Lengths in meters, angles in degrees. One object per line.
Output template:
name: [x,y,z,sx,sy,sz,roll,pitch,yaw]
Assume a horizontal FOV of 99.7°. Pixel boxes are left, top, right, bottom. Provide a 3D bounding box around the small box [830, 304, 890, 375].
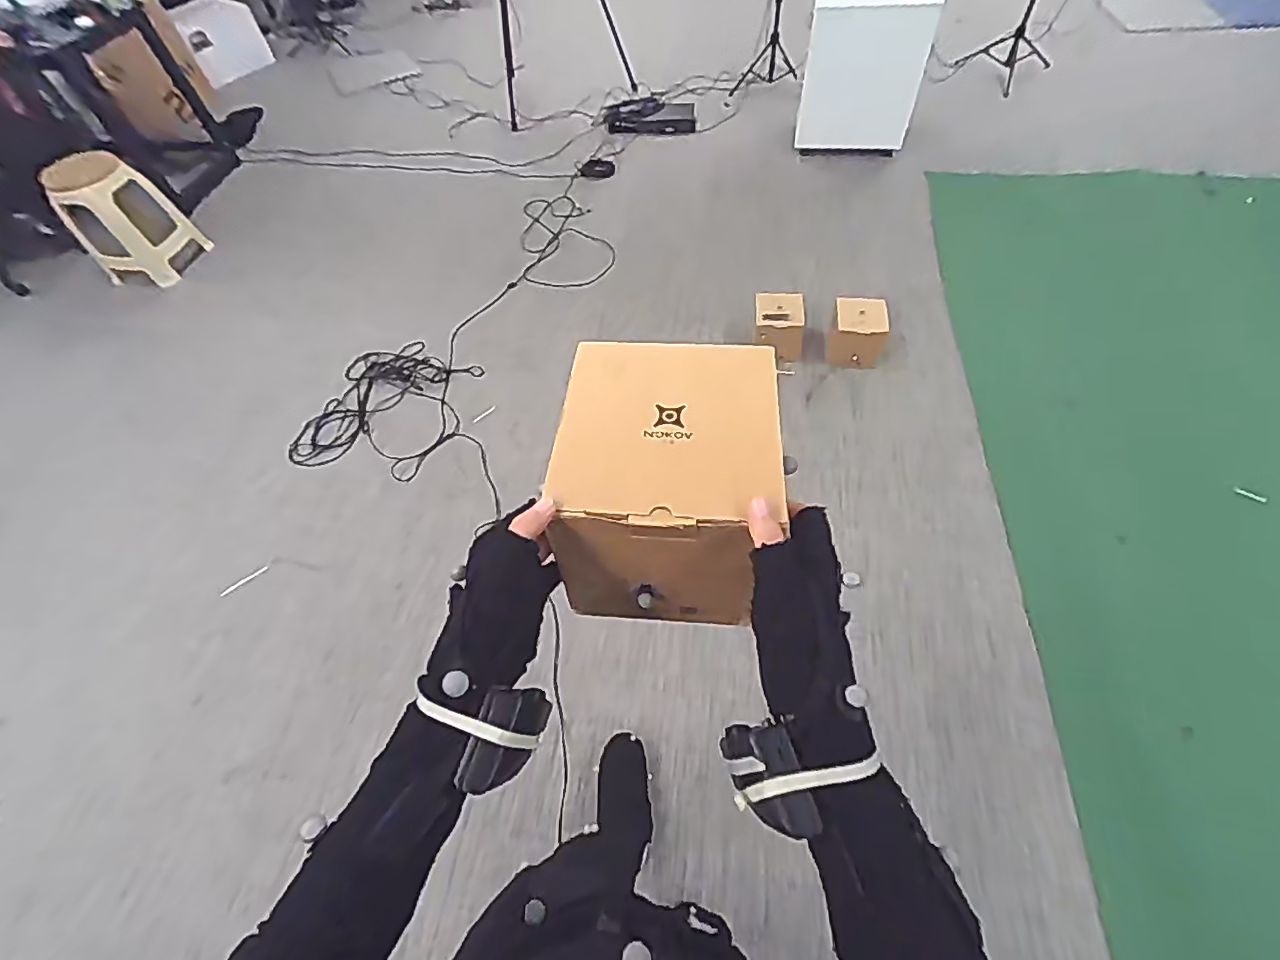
small box: [0.777,-0.501,1.925,0.168,0.176,0.179,5,57,9]
